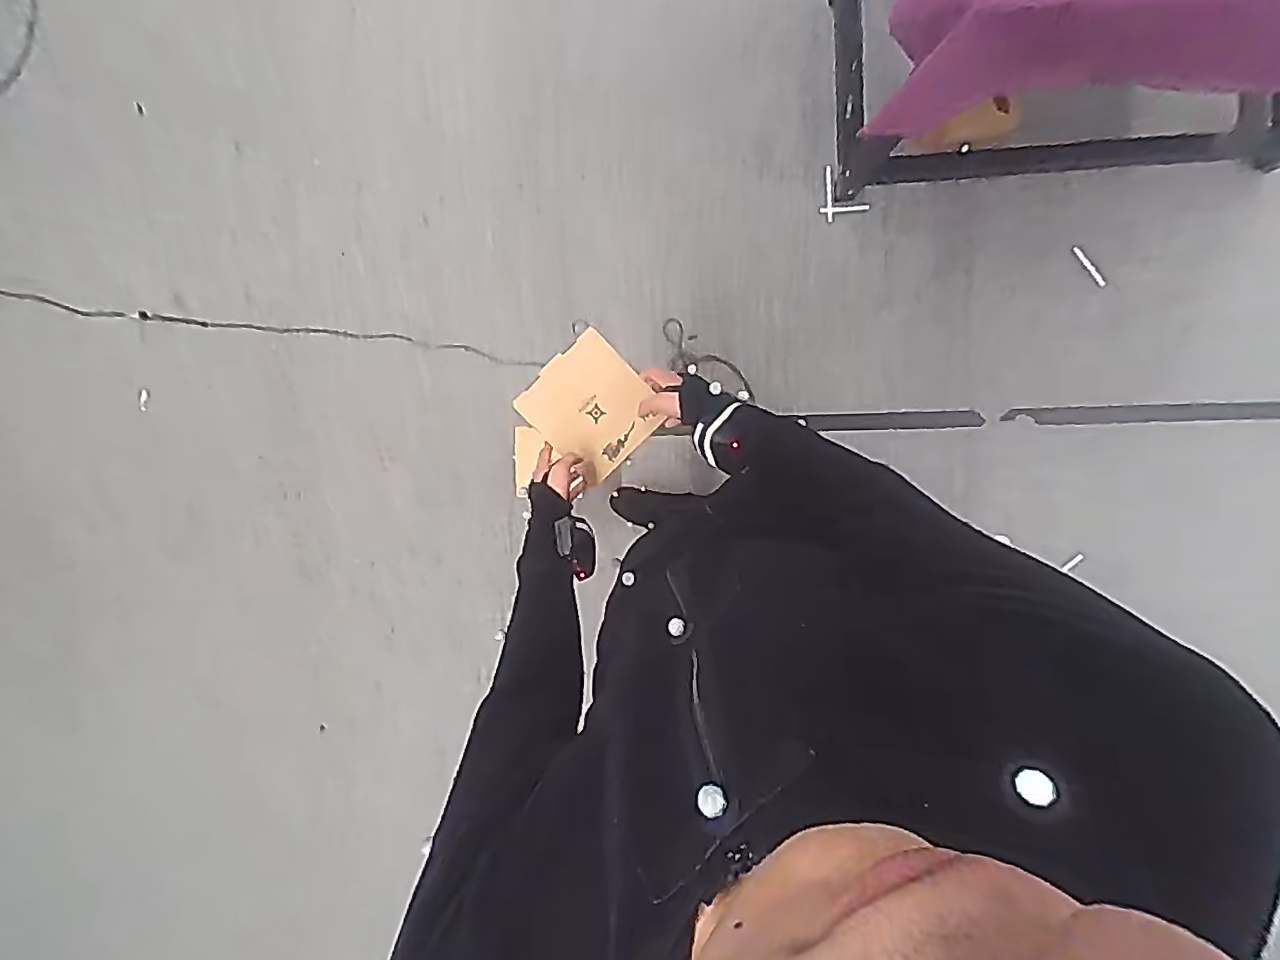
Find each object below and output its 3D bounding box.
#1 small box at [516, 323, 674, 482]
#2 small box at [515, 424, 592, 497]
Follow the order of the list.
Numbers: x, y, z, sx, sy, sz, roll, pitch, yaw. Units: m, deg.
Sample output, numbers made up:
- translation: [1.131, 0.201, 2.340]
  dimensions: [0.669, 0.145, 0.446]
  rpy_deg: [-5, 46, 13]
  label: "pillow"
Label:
- translation: [-0.068, -0.118, 0.869]
  dimensions: [0.168, 0.176, 0.179]
  rpy_deg: [-44, 95, 3]
  label: "small box"
- translation: [-0.215, -0.054, 1.386]
  dimensions: [0.168, 0.176, 0.179]
  rpy_deg: [0, 96, 3]
  label: "small box"
